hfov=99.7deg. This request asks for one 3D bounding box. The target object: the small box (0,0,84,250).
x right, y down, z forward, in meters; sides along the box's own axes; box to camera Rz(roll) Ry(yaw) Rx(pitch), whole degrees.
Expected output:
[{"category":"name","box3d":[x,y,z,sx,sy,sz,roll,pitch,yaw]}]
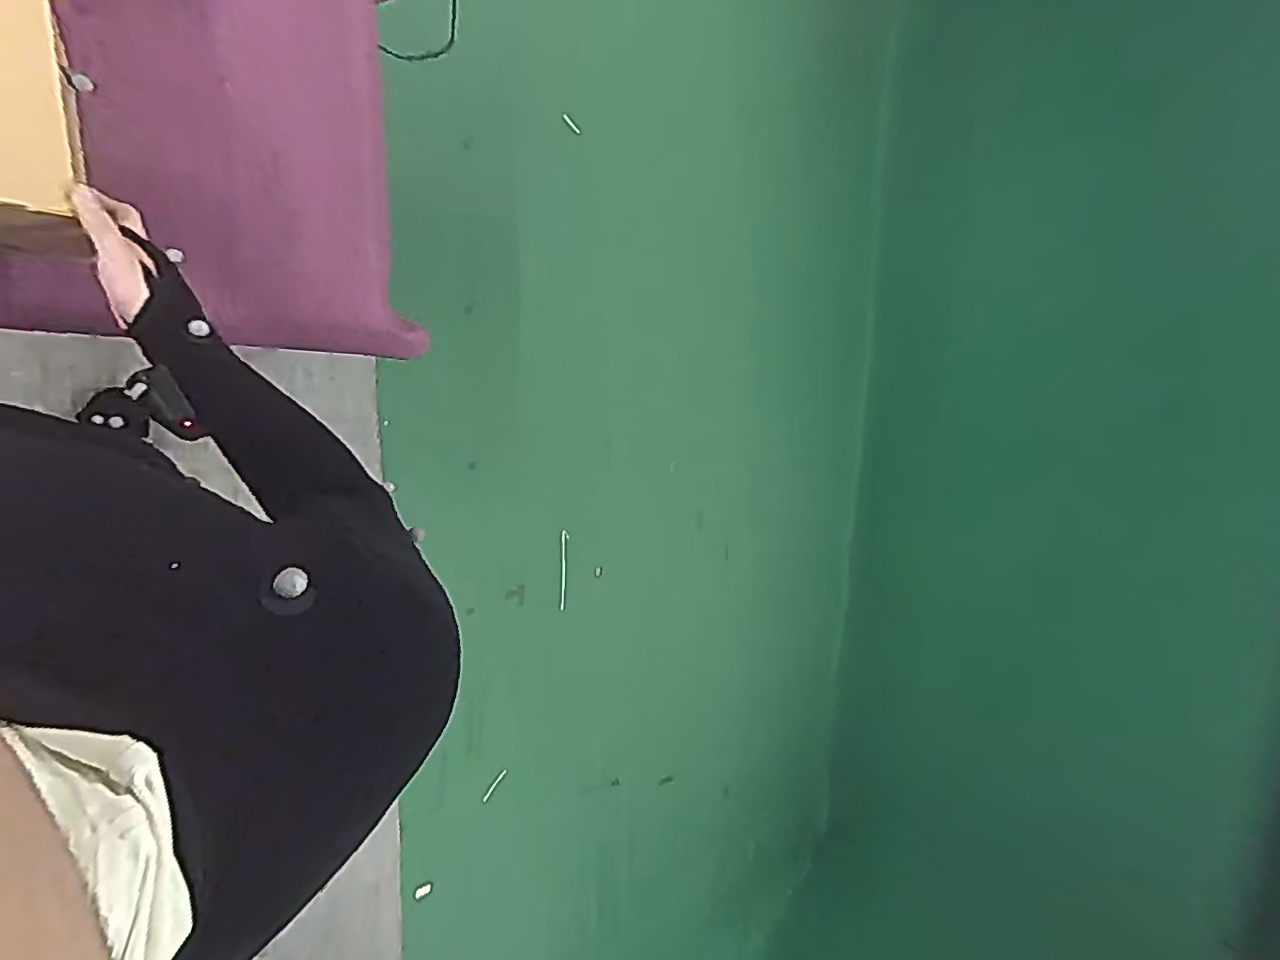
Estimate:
[{"category":"small box","box3d":[-0.587,-0.311,0.442,0.168,0.176,0.179,-7,99,-41]}]
